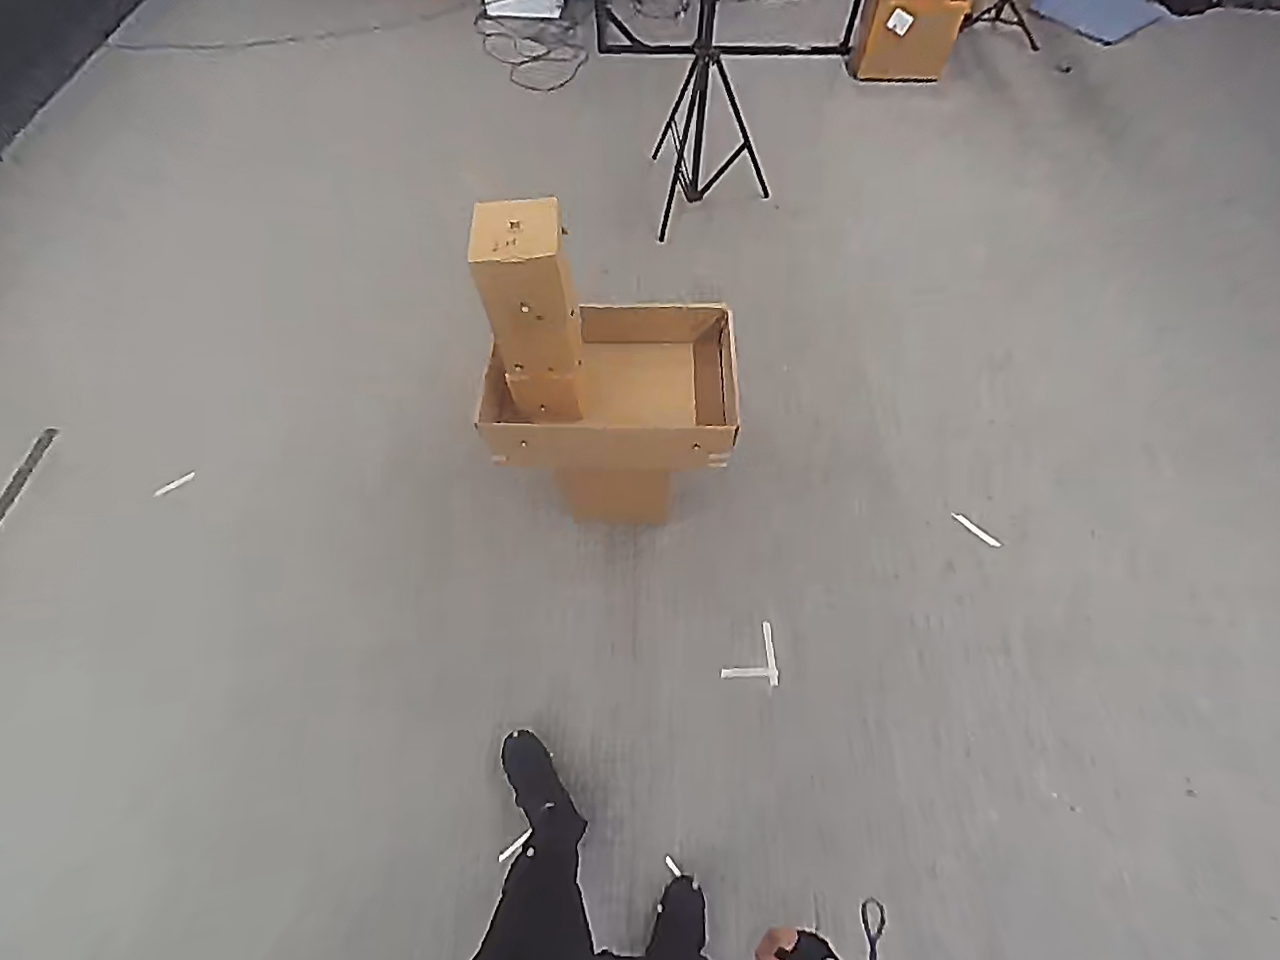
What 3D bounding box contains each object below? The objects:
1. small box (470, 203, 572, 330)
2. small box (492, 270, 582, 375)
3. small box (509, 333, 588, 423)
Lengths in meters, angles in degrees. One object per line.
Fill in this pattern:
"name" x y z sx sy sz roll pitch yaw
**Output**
"small box" -0.231 -0.429 1.096 0.168 0.176 0.179 -4 62 0
"small box" -0.227 -0.356 1.243 0.168 0.176 0.179 0 61 2
"small box" -0.226 -0.265 1.380 0.168 0.176 0.179 -1 61 2
